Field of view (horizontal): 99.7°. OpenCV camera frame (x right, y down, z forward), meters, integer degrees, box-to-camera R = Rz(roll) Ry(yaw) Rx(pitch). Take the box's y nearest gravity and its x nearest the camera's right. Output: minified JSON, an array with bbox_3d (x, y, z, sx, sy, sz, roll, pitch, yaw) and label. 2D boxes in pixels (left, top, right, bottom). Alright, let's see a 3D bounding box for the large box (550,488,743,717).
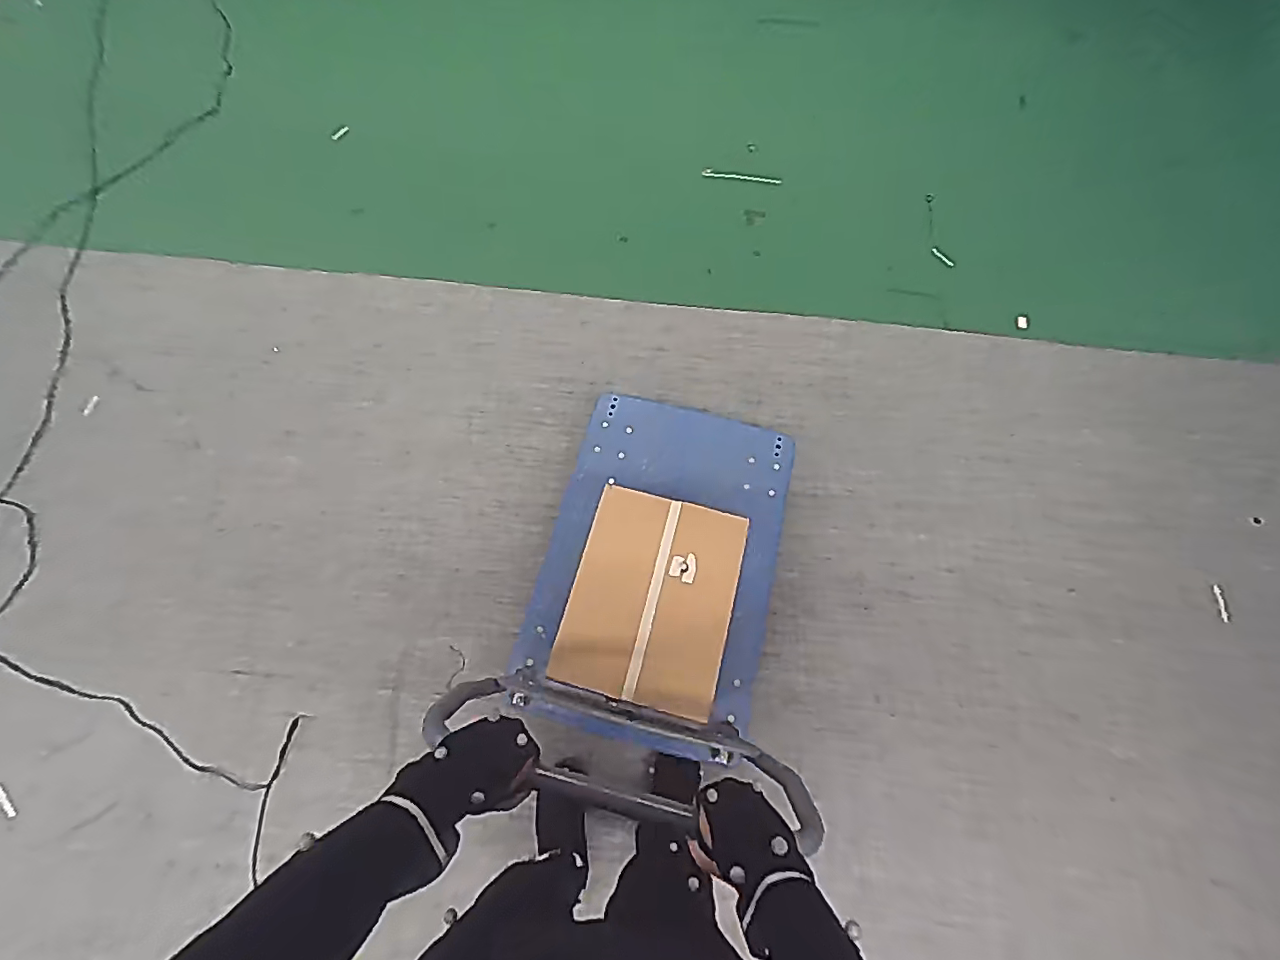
[{"bbox_3d":[0.021,0.287,1.214,0.320,0.320,0.408,15,67,4],"label":"large box"}]
